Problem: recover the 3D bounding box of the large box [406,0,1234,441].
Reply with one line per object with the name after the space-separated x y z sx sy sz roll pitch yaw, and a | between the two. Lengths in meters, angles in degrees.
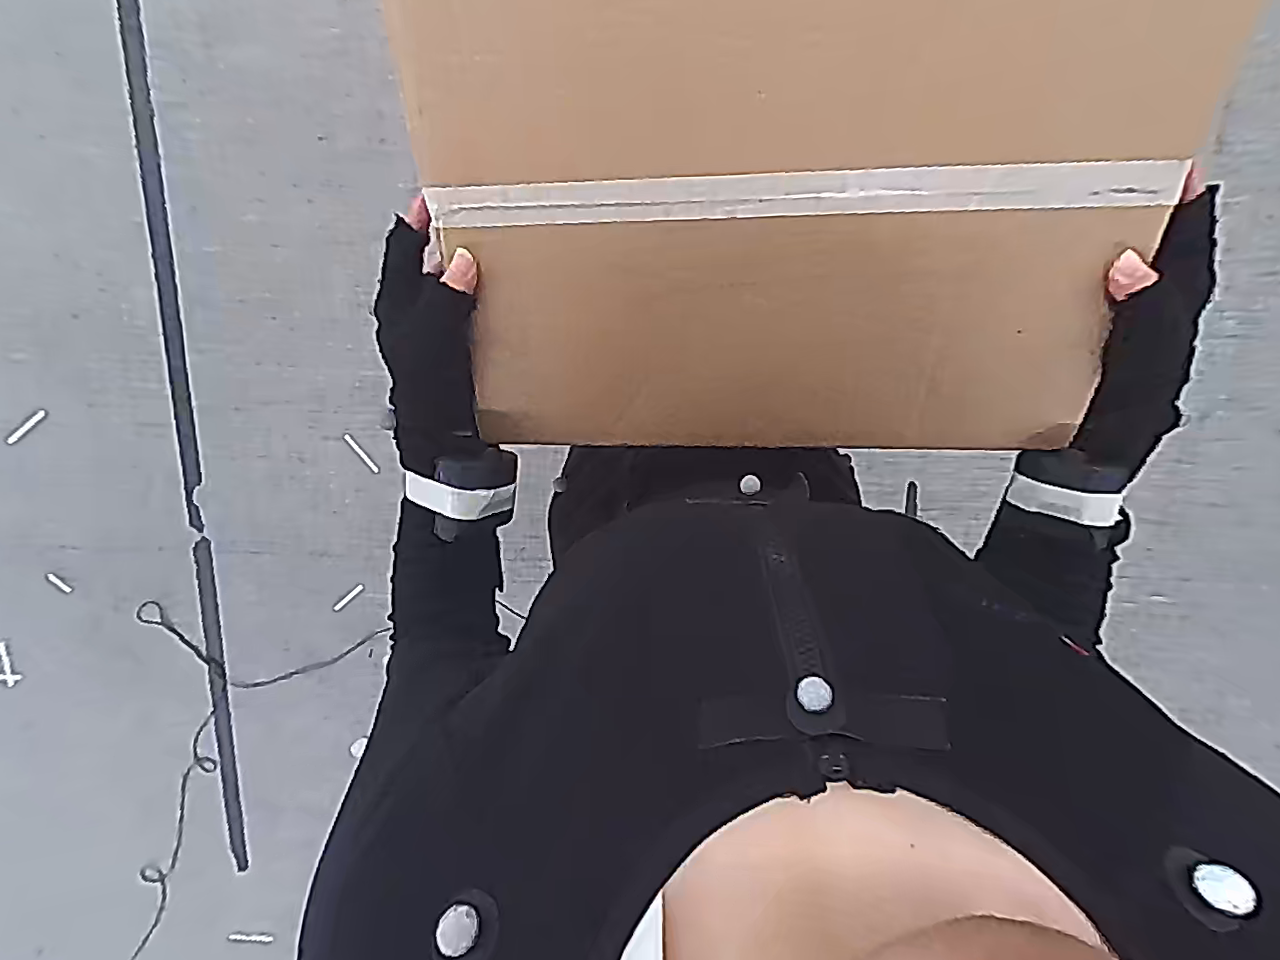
0.091 -0.237 0.438 0.408 0.320 0.320 1 123 4 | large box
